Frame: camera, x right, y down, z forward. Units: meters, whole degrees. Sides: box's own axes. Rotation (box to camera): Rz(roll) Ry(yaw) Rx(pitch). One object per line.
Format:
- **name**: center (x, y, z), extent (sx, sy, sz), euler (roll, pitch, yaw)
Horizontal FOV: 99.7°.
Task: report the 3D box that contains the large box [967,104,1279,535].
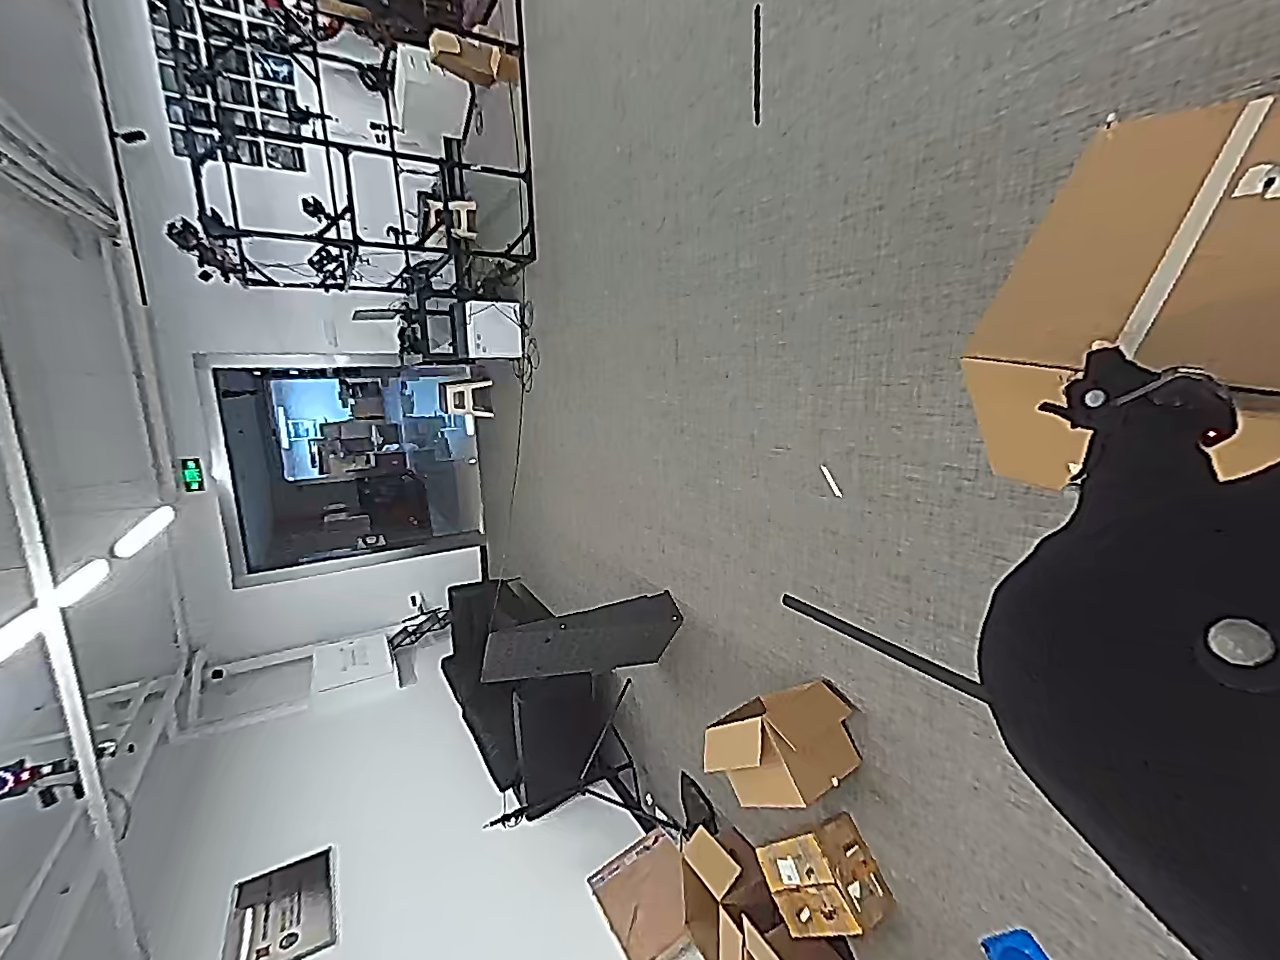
- **large box**: center (0.710, -0.201, 0.714), extent (0.320, 0.320, 0.408), euler (27, 79, 49)
